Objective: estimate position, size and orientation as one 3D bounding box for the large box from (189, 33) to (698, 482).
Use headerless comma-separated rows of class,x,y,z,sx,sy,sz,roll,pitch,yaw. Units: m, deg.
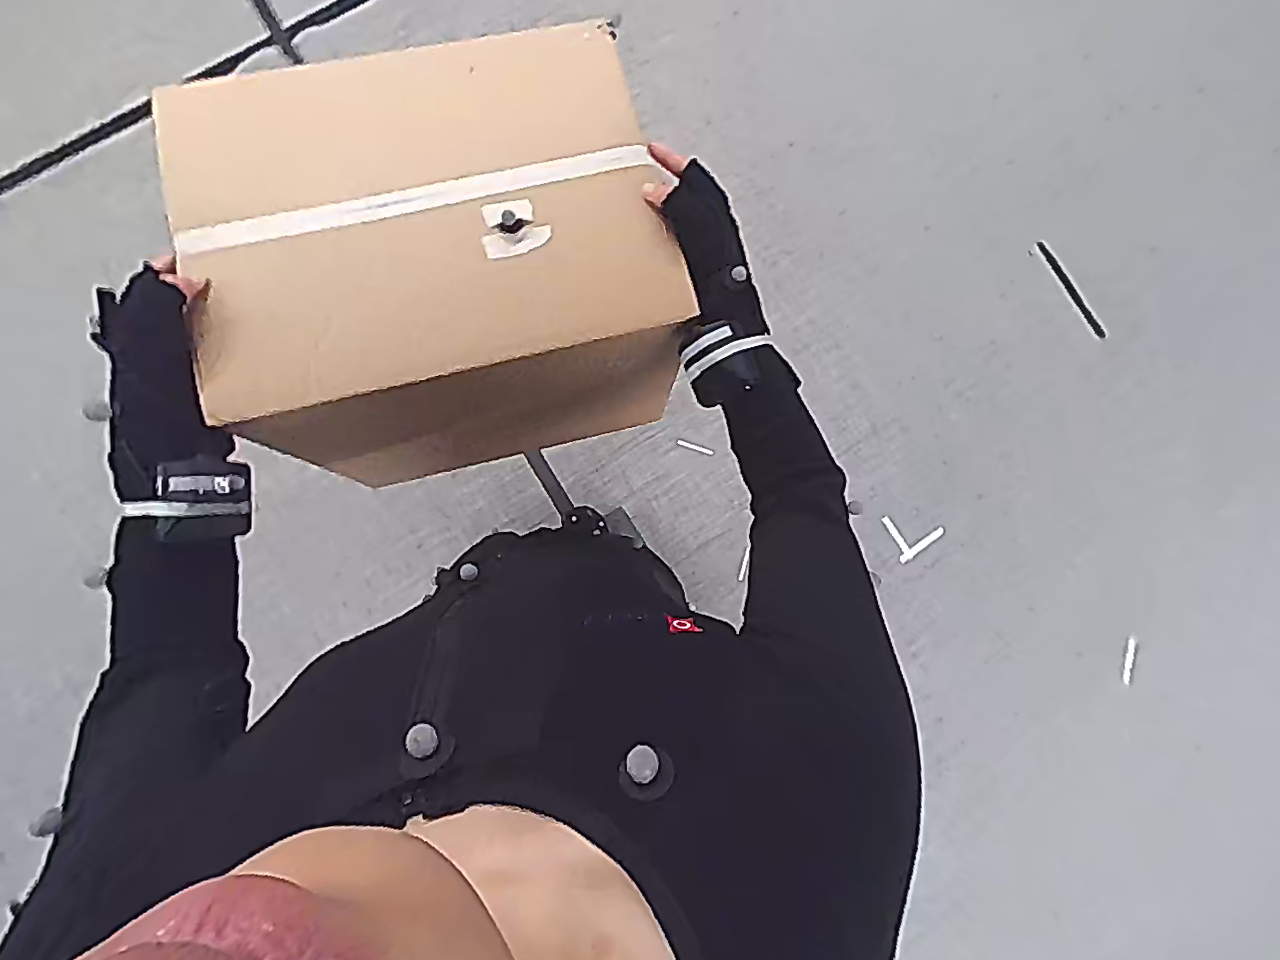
large box,-0.188,-0.217,0.628,0.408,0.320,0.320,-14,81,-7
